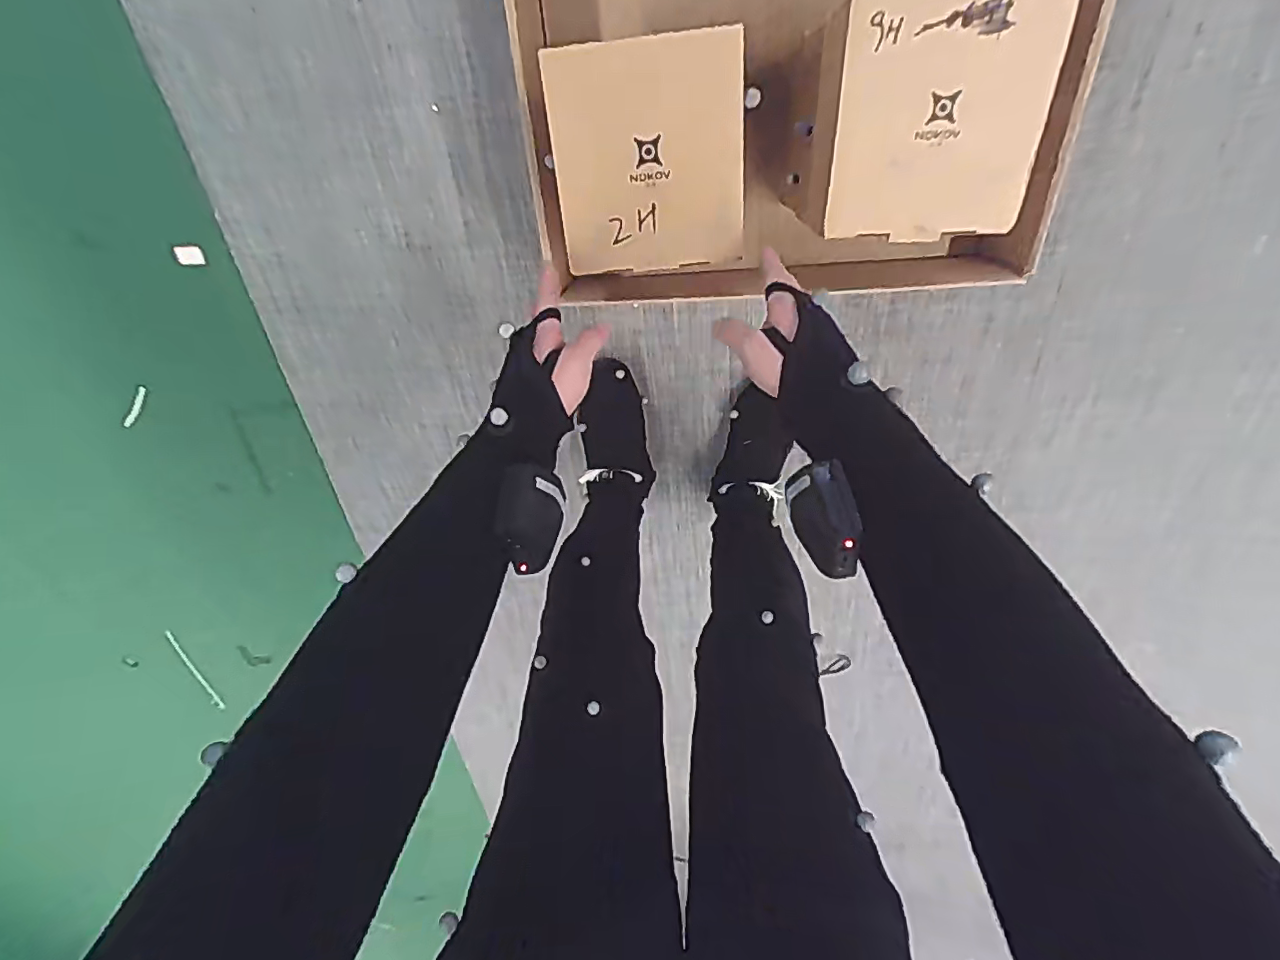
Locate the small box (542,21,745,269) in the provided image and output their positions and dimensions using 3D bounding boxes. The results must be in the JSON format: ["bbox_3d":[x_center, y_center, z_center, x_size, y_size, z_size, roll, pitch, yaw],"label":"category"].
[{"bbox_3d":[0.011,-0.319,0.537,0.168,0.176,0.179,-2,121,6],"label":"small box"}]
